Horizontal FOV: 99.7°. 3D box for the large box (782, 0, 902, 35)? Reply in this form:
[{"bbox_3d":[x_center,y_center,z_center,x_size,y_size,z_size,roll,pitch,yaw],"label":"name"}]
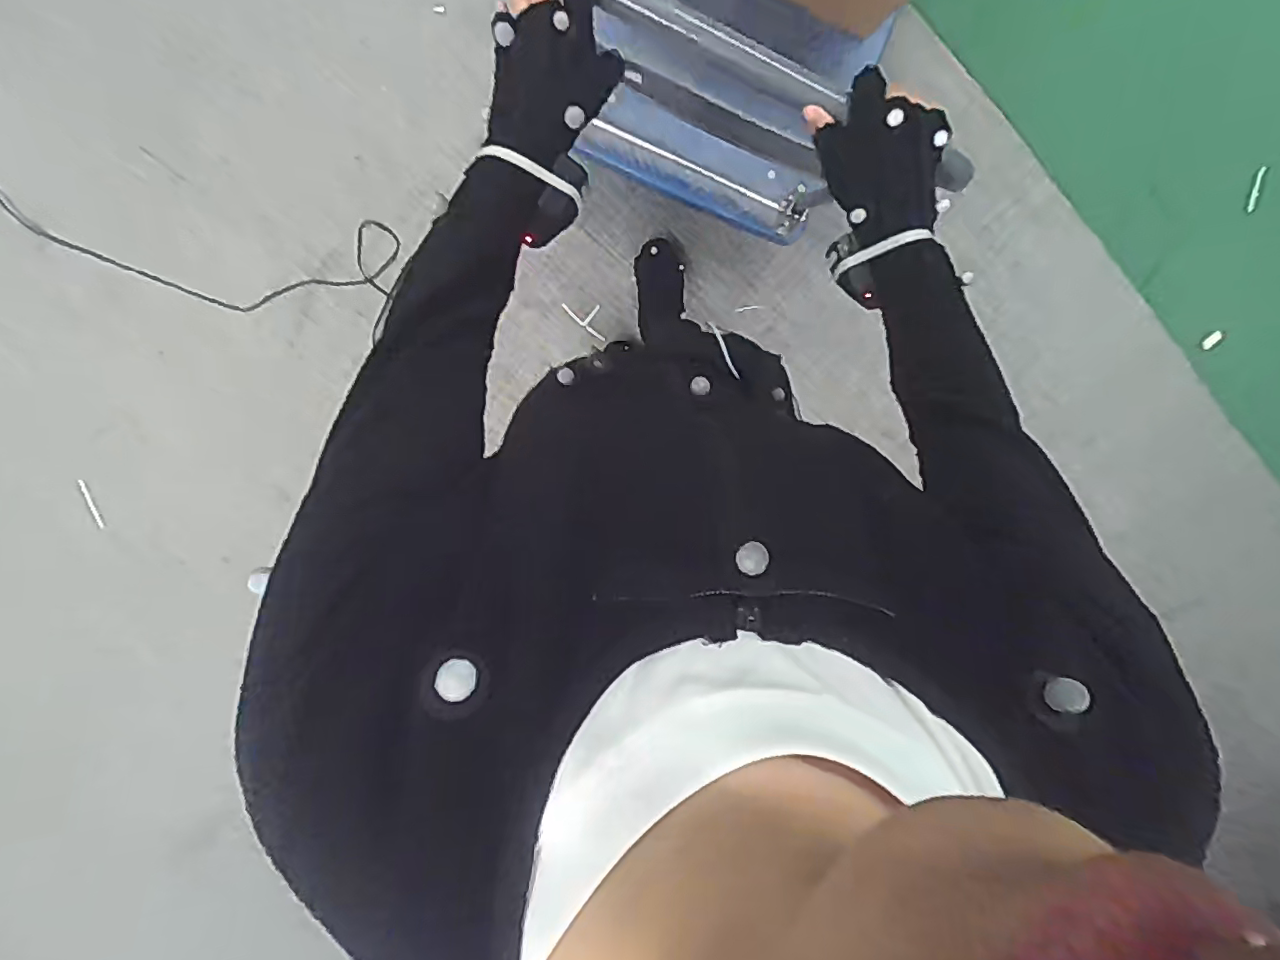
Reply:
[{"bbox_3d":[0.306,-1.003,0.841,0.408,0.320,0.320,18,106,-8],"label":"large box"}]
